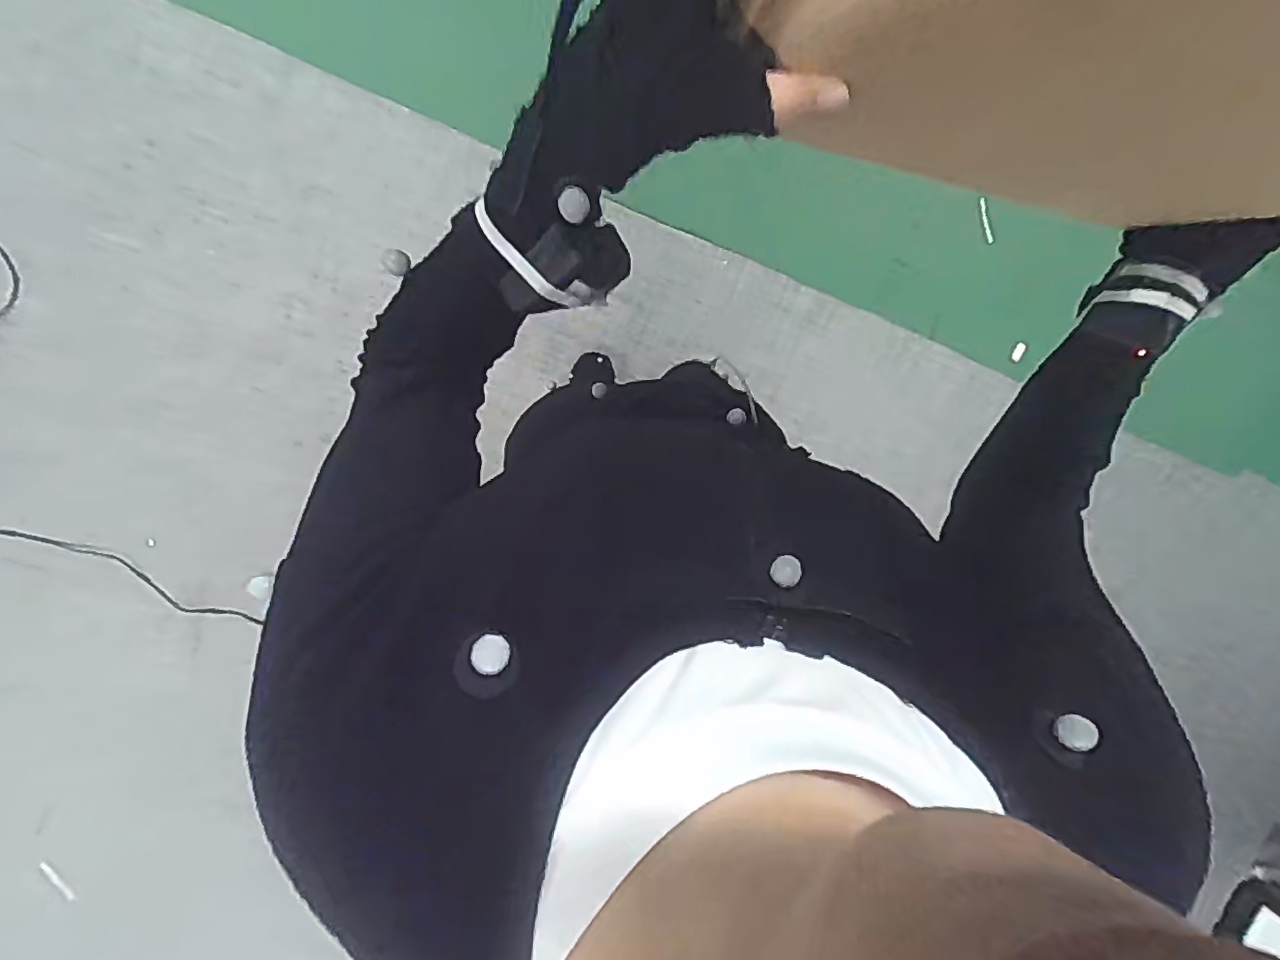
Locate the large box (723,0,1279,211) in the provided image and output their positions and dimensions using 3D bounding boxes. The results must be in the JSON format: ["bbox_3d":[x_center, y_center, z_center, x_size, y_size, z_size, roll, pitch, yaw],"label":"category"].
[{"bbox_3d":[0.286,-0.303,0.186,0.408,0.320,0.320,-3,110,-25],"label":"large box"}]
